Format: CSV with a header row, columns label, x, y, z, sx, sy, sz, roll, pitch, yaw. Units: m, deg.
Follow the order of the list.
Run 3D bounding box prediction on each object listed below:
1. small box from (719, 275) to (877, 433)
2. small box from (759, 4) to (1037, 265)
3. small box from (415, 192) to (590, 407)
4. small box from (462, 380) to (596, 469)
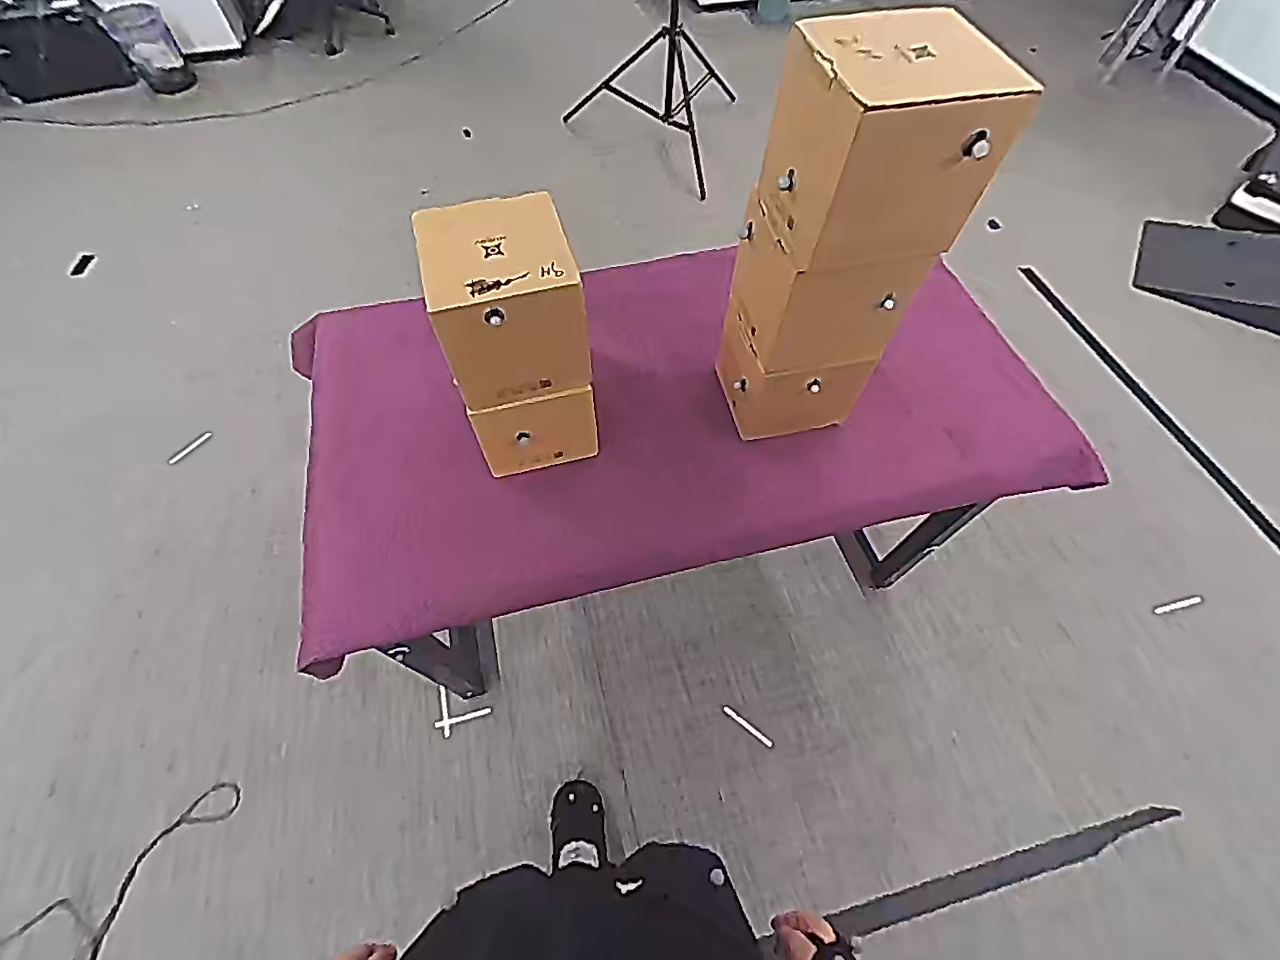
label,x,y,z,sx,sy,sz,roll,pitch,yaw
small box,0.231,-0.192,0.854,0.179,0.176,0.168,-11,61,-8
small box,0.246,-0.355,0.568,0.179,0.176,0.168,-12,61,-7
small box,-0.165,-0.222,0.676,0.168,0.176,0.179,-15,60,-9
small box,-0.167,-0.133,0.814,0.168,0.176,0.179,-14,60,-8
